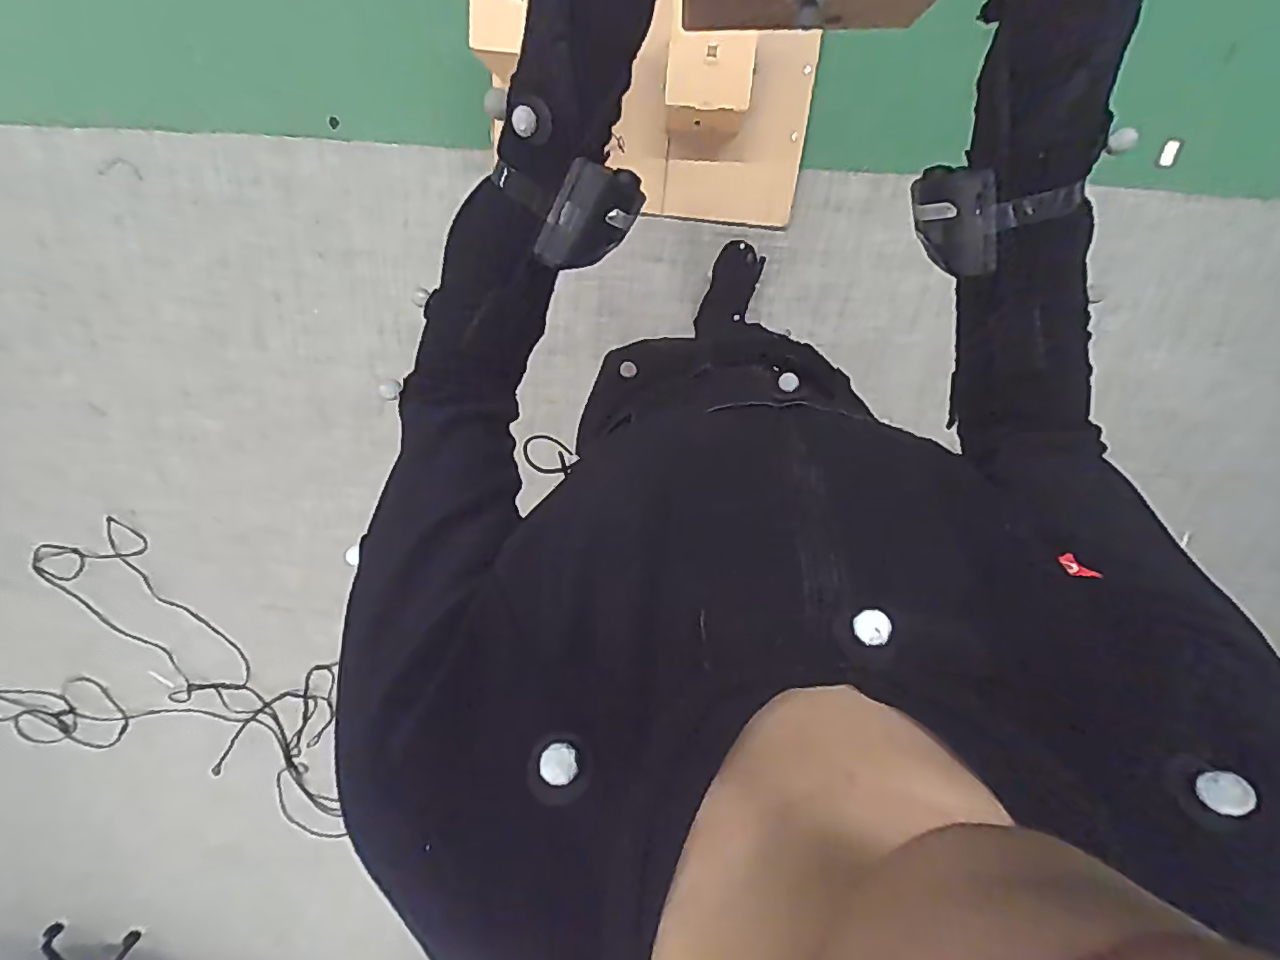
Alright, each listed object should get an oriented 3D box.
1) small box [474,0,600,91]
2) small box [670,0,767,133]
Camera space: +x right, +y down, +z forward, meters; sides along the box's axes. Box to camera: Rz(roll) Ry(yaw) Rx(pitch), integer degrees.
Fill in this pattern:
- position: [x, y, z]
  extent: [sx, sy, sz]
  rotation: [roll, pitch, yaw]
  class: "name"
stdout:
- position: [-0.171, -0.803, 0.939]
  extent: [0.179, 0.176, 0.168]
  rotation: [10, 111, 2]
  class: "small box"
- position: [0.149, -0.826, 1.088]
  extent: [0.168, 0.176, 0.179]
  rotation: [5, 112, 2]
  class: "small box"
